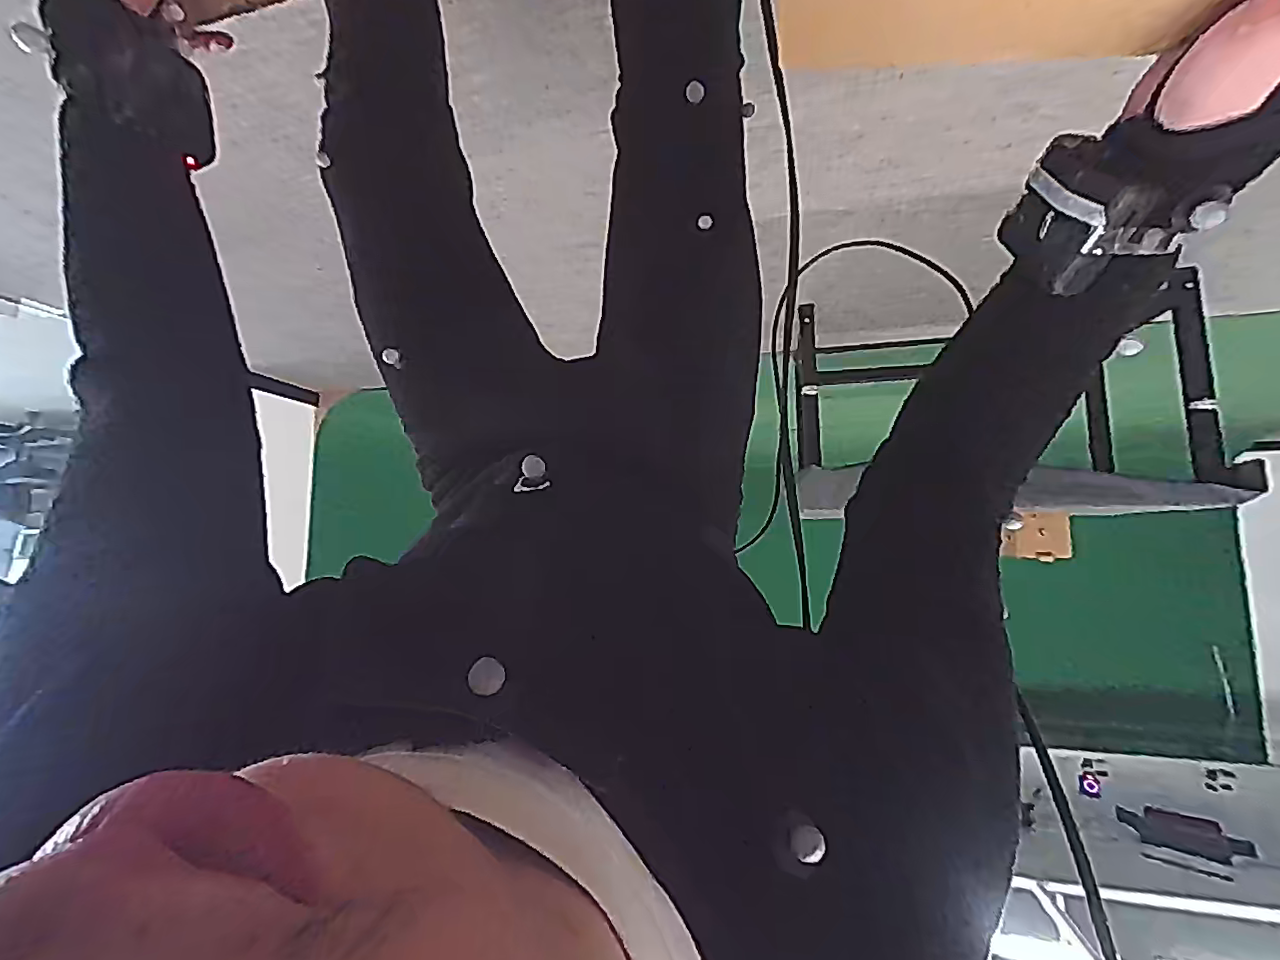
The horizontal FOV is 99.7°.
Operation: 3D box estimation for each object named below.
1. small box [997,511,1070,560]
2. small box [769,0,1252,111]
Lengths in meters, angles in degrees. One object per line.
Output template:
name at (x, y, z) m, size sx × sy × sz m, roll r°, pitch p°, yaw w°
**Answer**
small box at (1.426, 0.203, 1.973) m, size 0.168 × 0.176 × 0.179 m, roll -4°, pitch 172°, yaw 18°
small box at (0.149, -0.272, 0.192) m, size 0.179 × 0.176 × 0.168 m, roll 10°, pitch 175°, yaw 13°
